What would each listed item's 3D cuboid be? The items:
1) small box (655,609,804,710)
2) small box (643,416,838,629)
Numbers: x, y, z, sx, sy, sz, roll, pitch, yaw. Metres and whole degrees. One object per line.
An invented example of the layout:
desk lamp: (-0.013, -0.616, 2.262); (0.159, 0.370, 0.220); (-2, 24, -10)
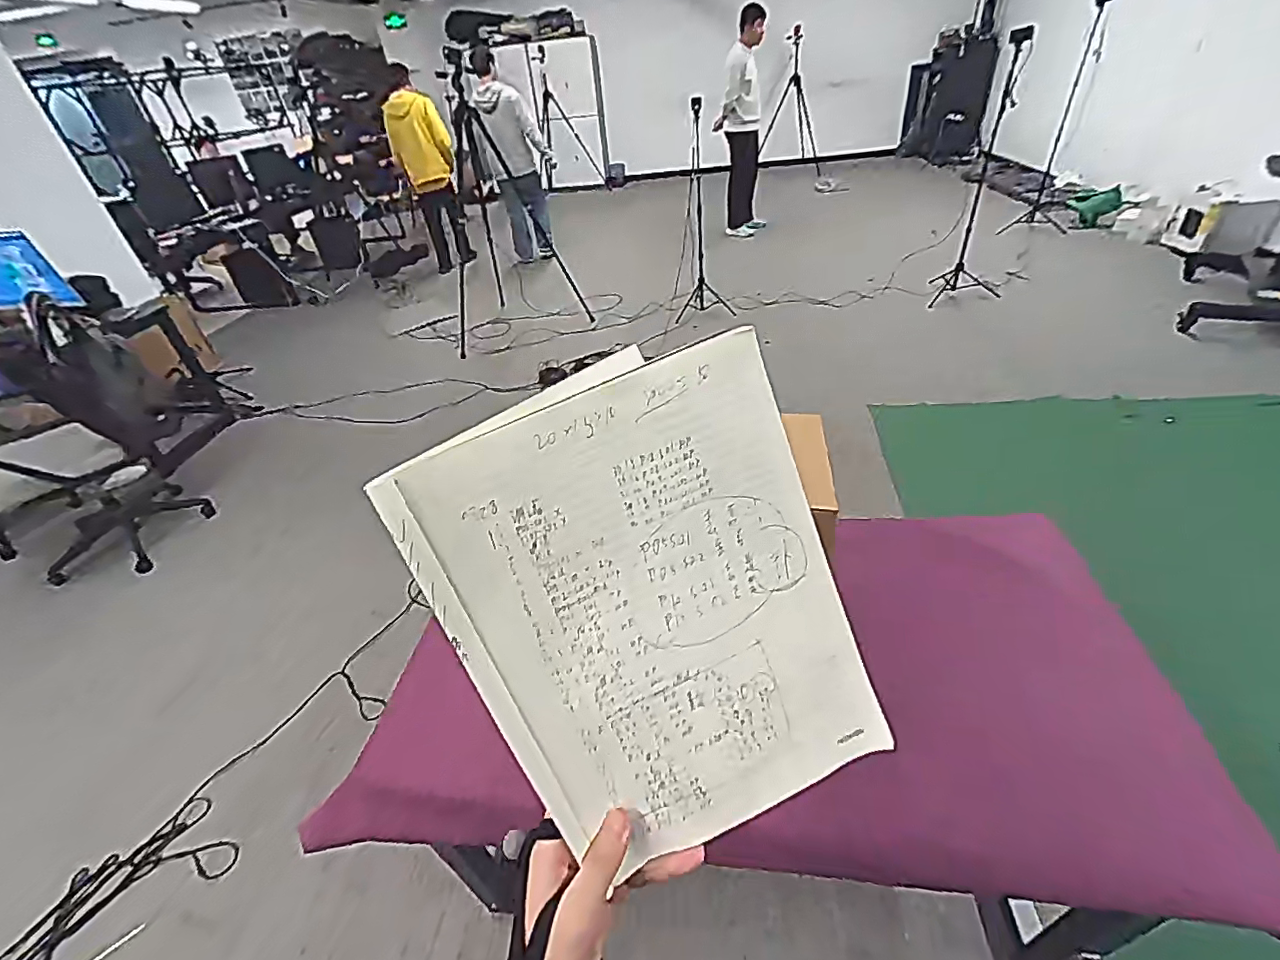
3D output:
small box: (0.116, 0.173, 0.697); (0.168, 0.176, 0.179); (0, 36, 9)
small box: (0.108, 0.044, 0.593); (0.179, 0.176, 0.168); (1, 36, 11)
